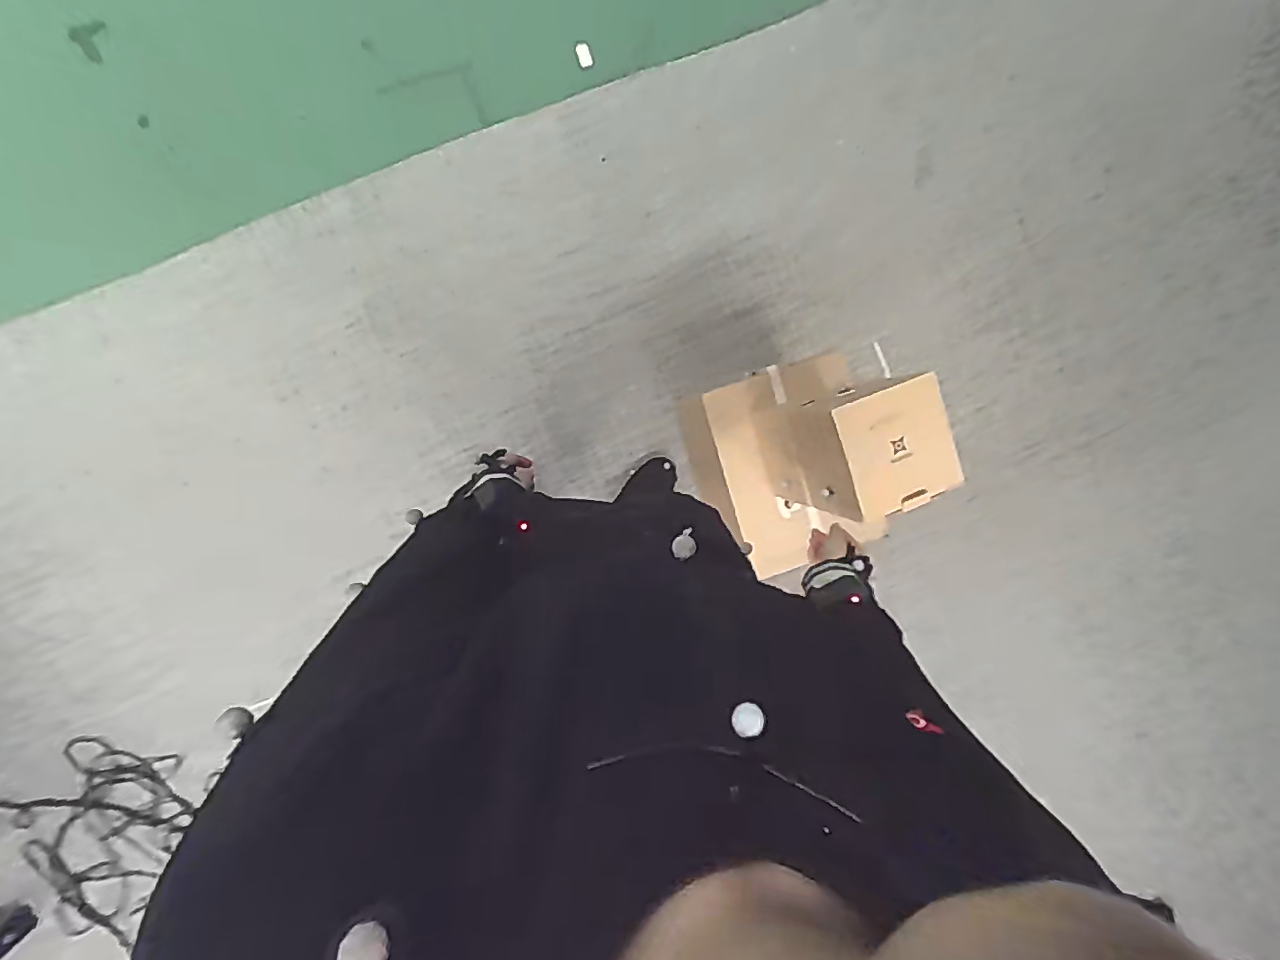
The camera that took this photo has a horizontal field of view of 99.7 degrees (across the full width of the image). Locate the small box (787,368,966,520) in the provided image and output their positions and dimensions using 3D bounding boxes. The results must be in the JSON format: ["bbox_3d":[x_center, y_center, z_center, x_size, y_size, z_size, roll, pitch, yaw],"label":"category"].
[{"bbox_3d":[0.354,-0.058,0.836,0.168,0.176,0.179,-21,97,-6],"label":"small box"}]

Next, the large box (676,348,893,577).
[{"bbox_3d":[0.310,-0.049,1.243,0.320,0.320,0.408,-18,98,-4],"label":"large box"}]
